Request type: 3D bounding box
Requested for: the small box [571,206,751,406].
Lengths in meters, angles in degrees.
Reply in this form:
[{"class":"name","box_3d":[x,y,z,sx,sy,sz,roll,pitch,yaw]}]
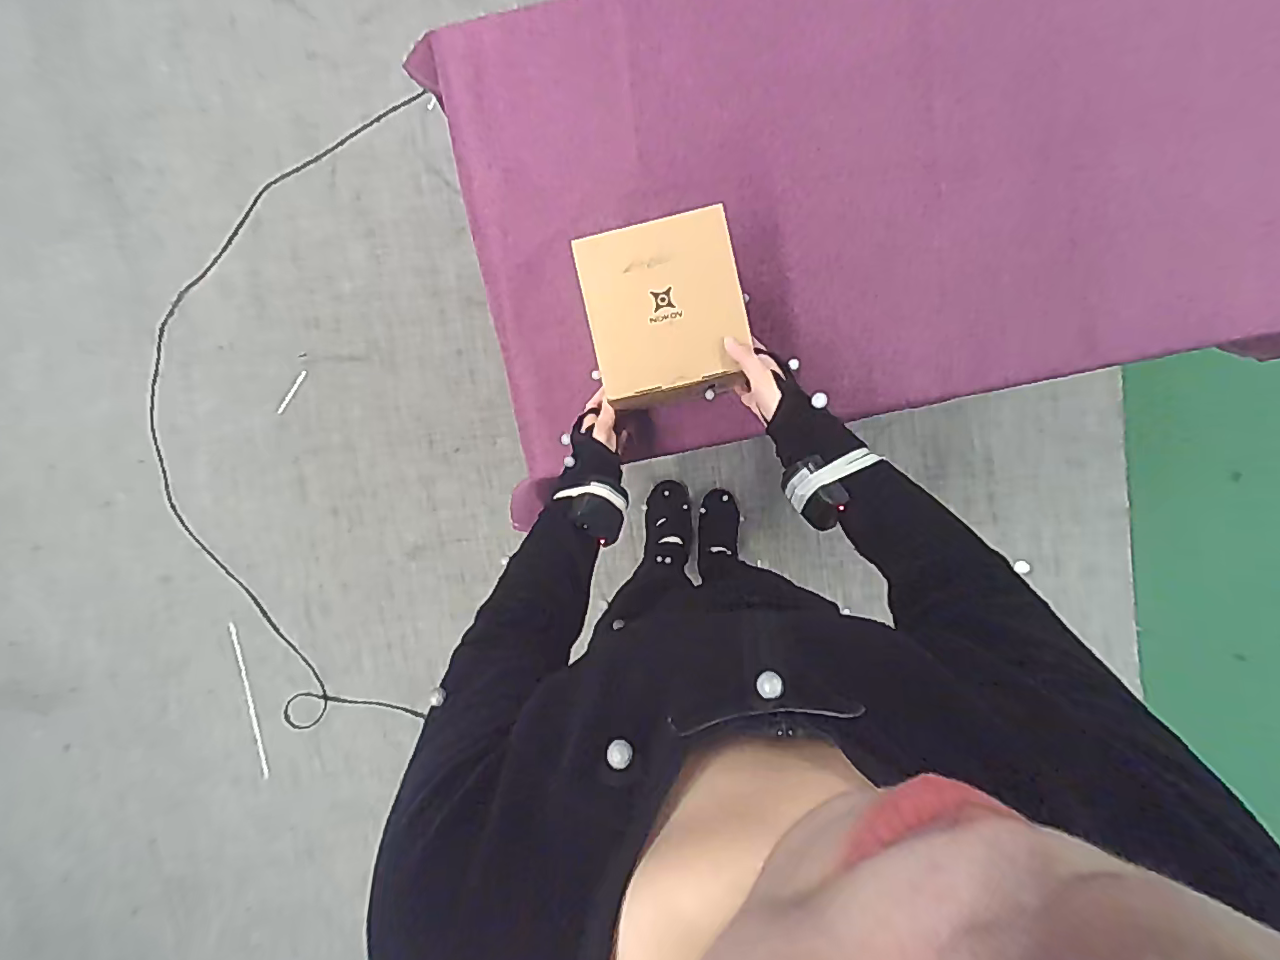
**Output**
[{"class":"small box","box_3d":[0.026,-0.190,0.650,0.168,0.176,0.179,-12,92,2]}]
